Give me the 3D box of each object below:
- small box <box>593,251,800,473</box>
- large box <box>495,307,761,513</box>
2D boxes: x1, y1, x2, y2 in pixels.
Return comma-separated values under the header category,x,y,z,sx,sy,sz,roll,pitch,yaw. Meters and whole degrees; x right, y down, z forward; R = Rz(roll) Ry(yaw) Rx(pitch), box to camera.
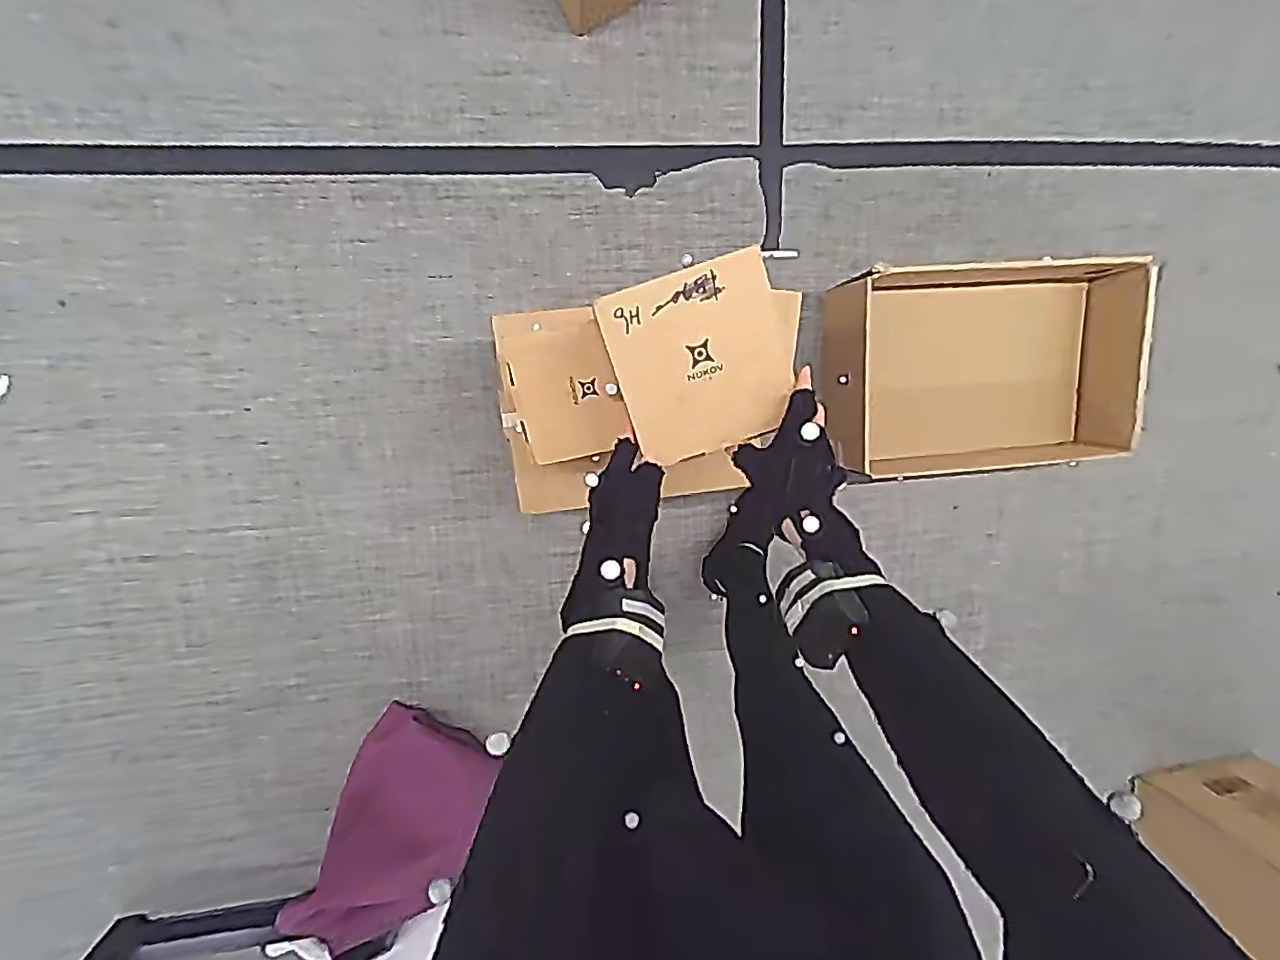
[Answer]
category,x,y,z,sx,sy,sz,roll,pitch,yaw
small box,0.056,-0.128,0.601,0.168,0.176,0.179,-18,102,2
large box,-0.030,-0.145,1.010,0.408,0.320,0.320,-8,101,-7
